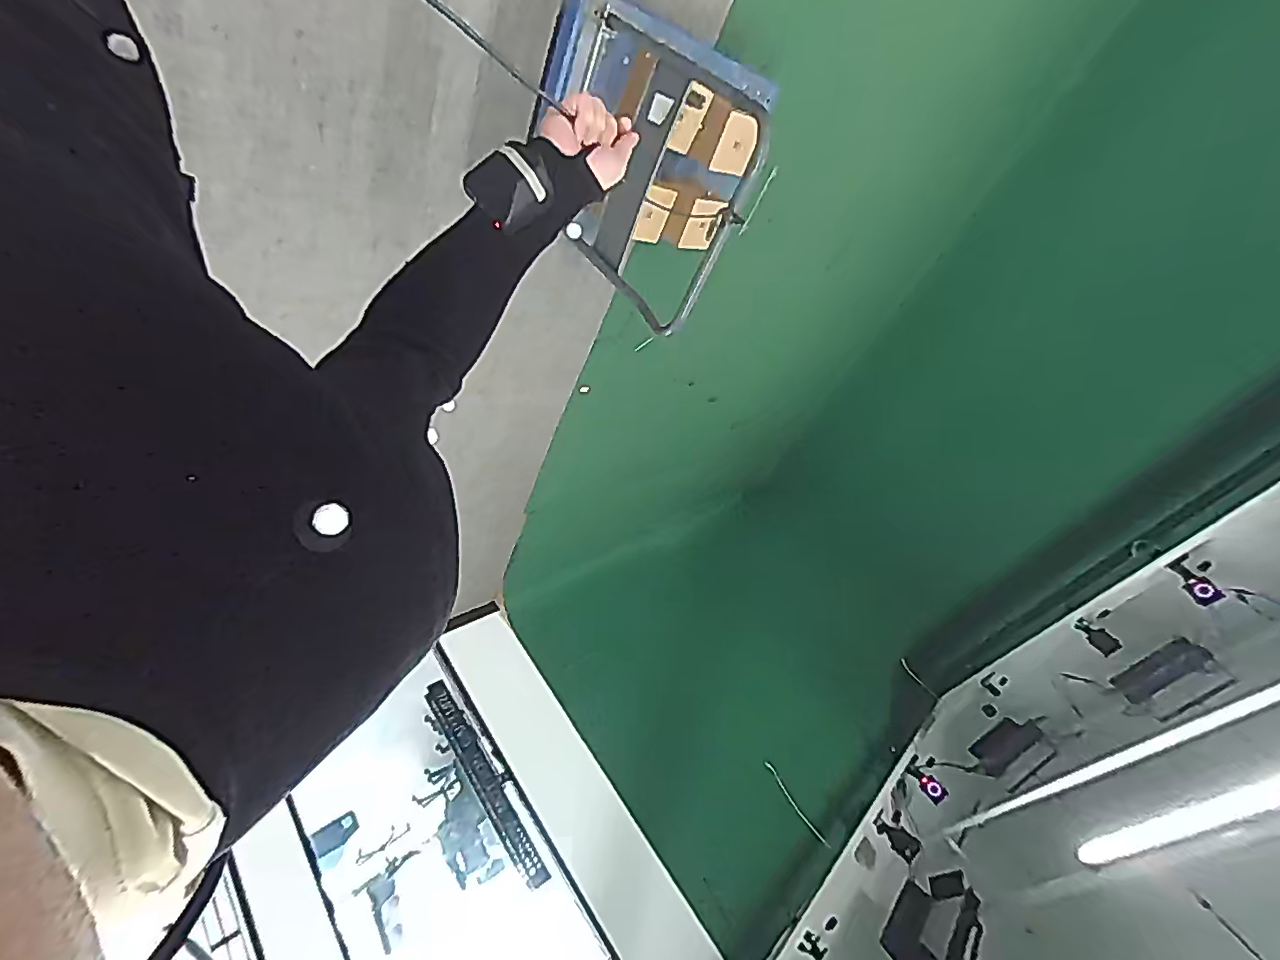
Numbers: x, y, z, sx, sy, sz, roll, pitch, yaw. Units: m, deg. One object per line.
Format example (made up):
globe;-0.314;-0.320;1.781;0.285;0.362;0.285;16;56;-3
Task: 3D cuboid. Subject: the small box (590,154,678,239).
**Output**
small box;-0.023;-0.878;1.677;0.179;0.176;0.168;-14;145;-43

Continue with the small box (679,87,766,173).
small box;0.253;-1.100;1.698;0.179;0.176;0.168;-18;148;-40

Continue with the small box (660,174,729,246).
small box;0.167;-0.929;1.862;0.179;0.176;0.168;-17;146;-40
